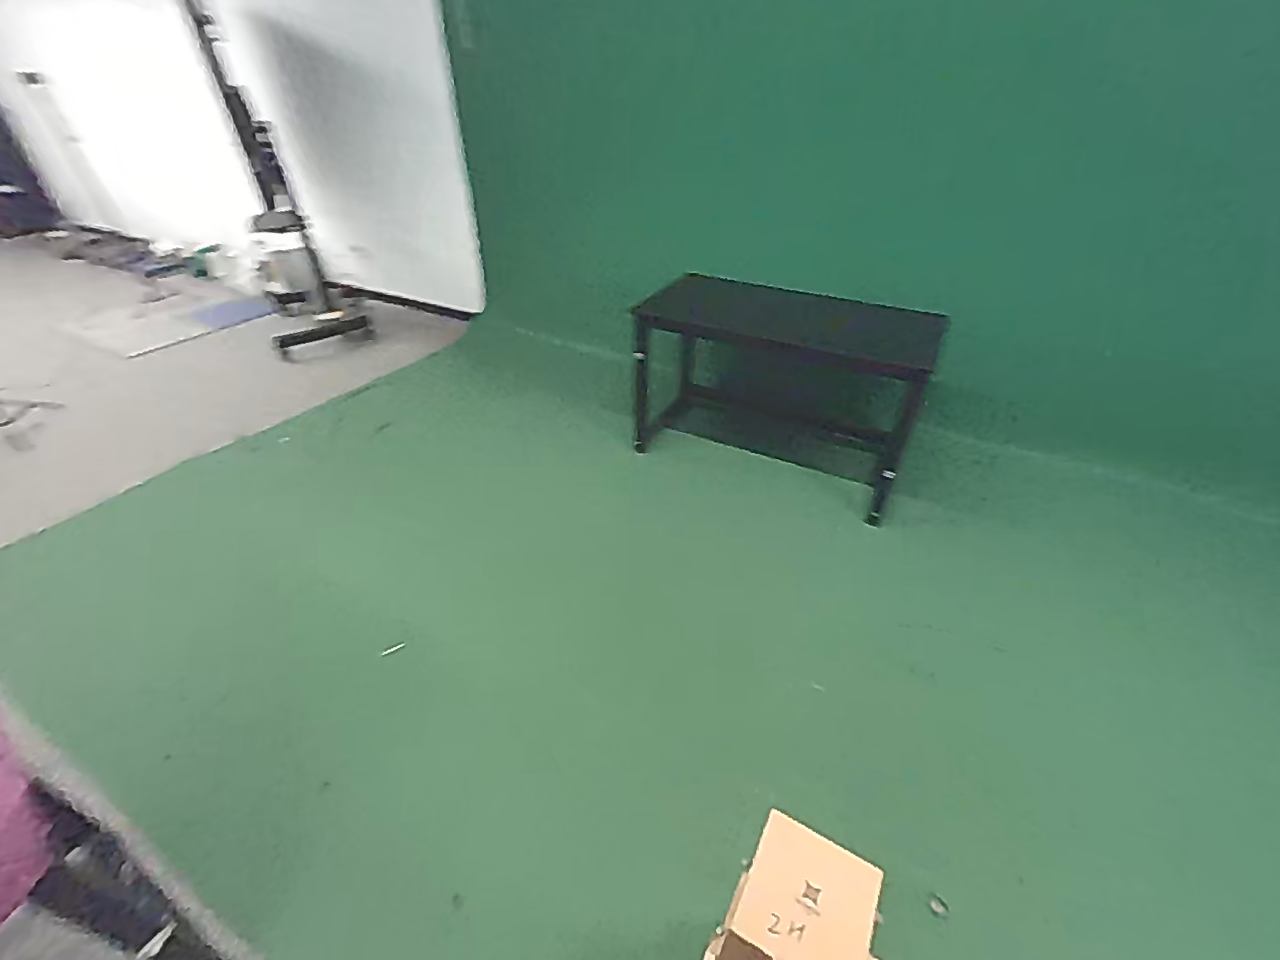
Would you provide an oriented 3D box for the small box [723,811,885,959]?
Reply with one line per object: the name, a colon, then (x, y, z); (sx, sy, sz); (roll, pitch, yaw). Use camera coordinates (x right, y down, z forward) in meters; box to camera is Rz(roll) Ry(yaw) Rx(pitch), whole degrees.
small box: (0.228, 0.632, 0.774); (0.168, 0.176, 0.179); (20, 41, 24)
